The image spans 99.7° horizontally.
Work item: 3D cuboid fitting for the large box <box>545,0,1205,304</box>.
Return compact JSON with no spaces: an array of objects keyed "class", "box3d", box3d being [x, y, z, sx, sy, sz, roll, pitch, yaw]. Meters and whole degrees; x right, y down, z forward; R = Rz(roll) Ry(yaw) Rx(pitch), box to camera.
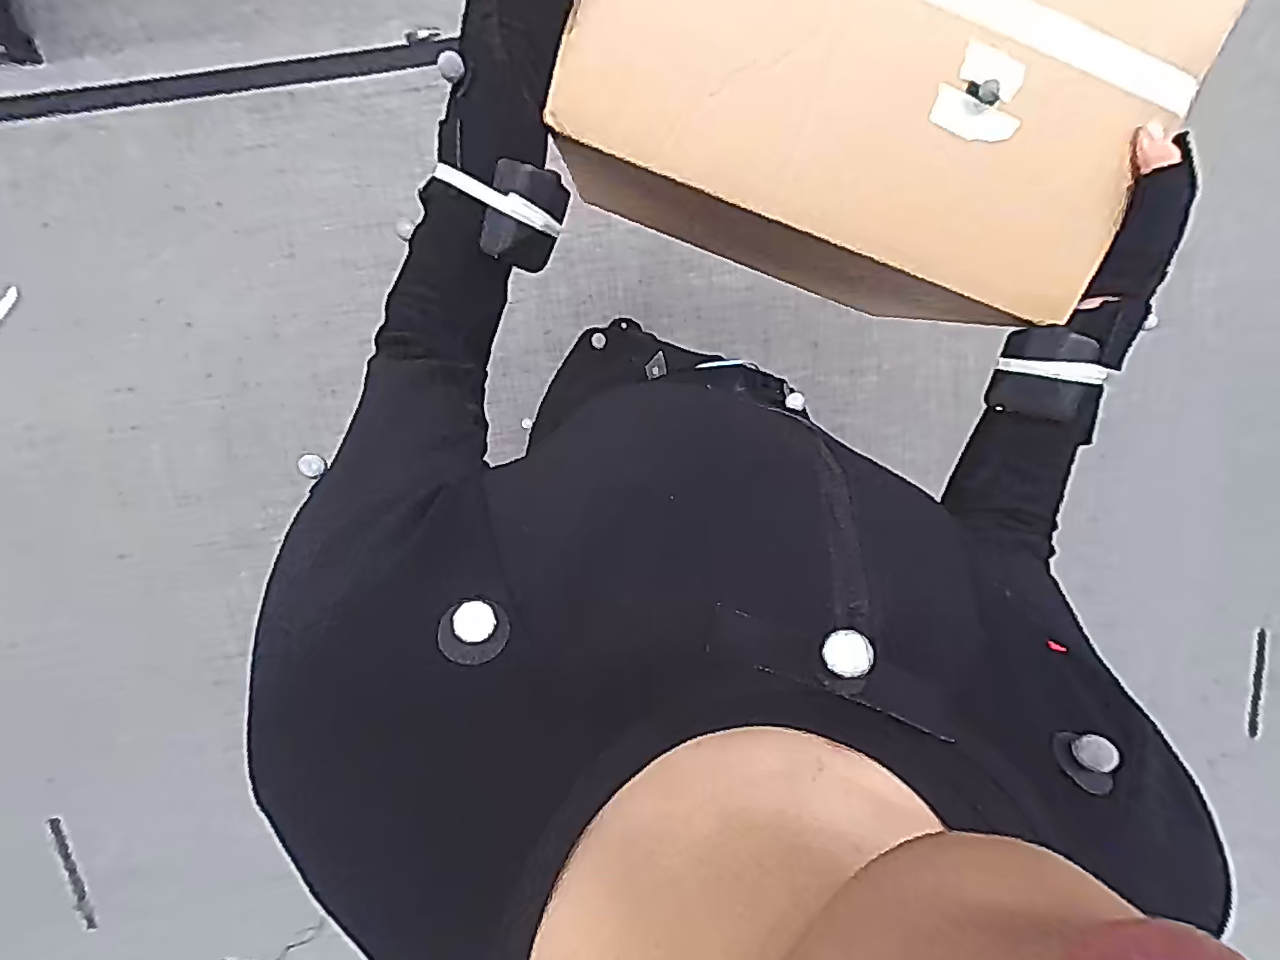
[{"class":"large box","box3d":[0.159,-0.374,0.488,0.408,0.320,0.320,17,109,-8]}]
